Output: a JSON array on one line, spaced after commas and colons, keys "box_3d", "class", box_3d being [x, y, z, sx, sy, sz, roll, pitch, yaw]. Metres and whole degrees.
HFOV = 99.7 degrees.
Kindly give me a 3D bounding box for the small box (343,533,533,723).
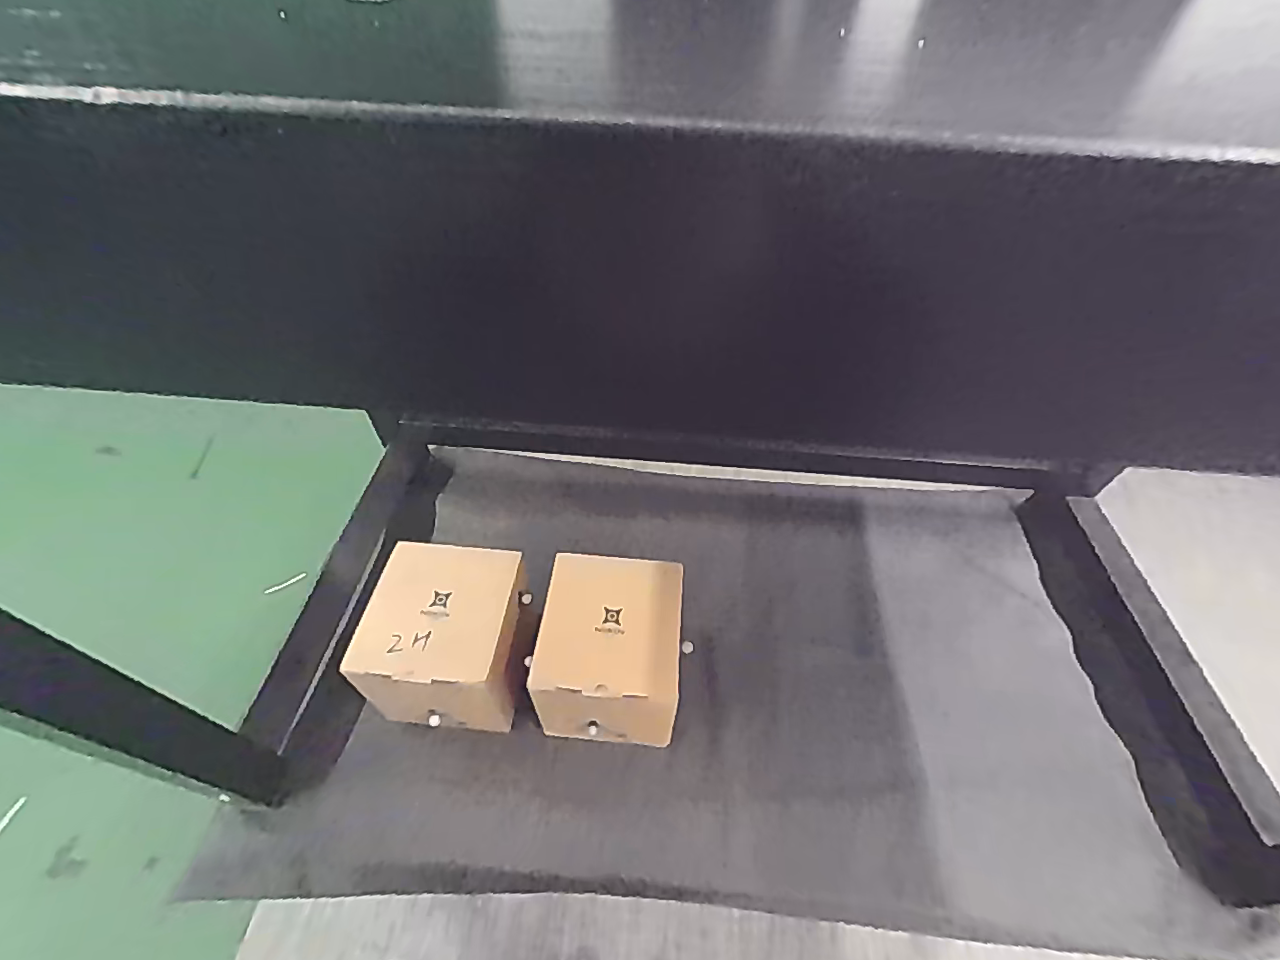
[{"box_3d": [-0.242, 0.193, 0.704, 0.168, 0.176, 0.179, 5, 49, 3], "class": "small box"}]
